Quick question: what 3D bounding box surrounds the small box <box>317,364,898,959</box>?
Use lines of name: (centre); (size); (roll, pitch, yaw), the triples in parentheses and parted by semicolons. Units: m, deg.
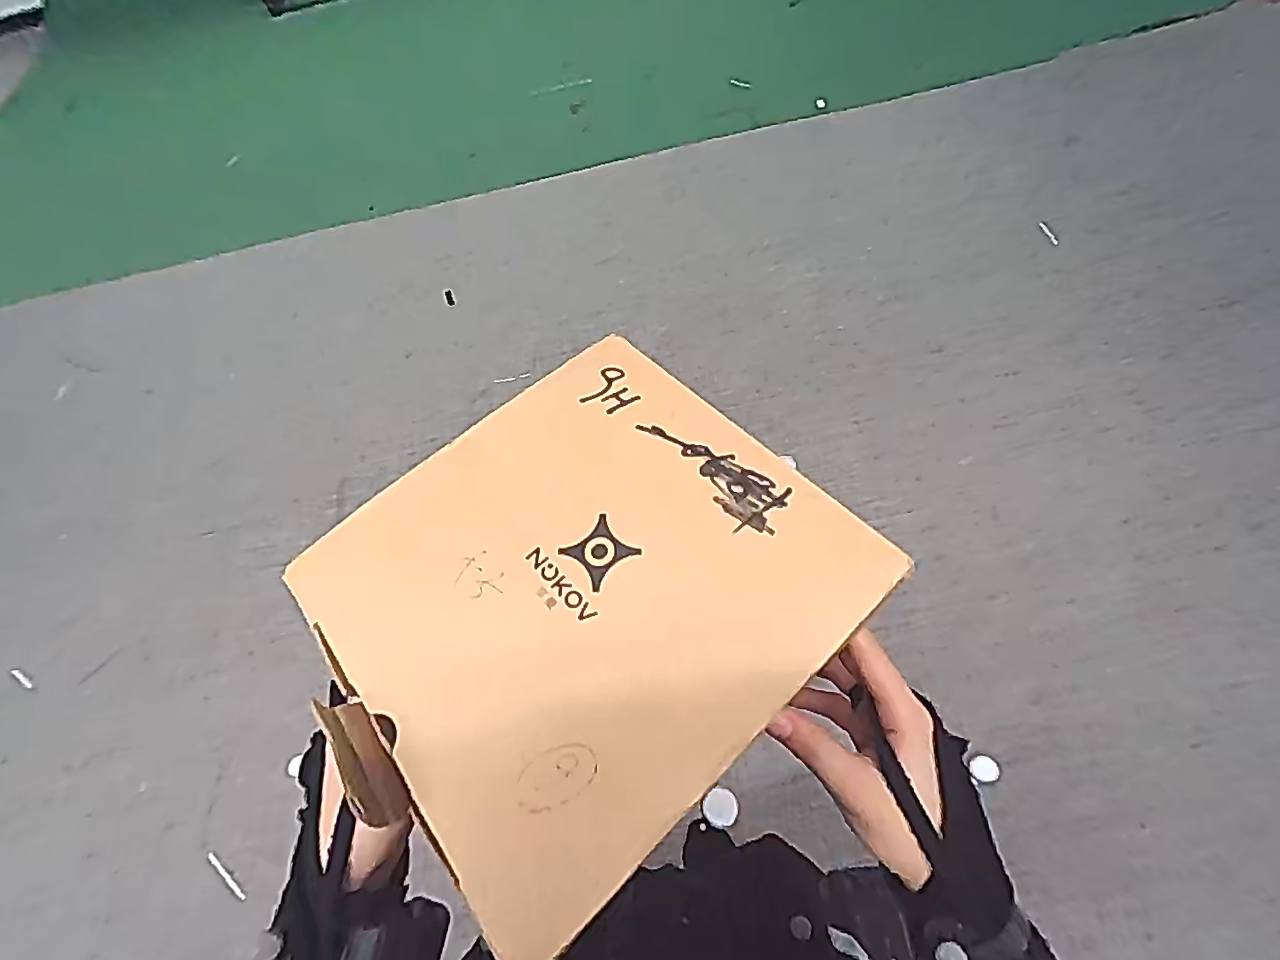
small box: (-0.010, 0.083, 0.280); (0.179, 0.176, 0.168); (-40, 64, -16)
